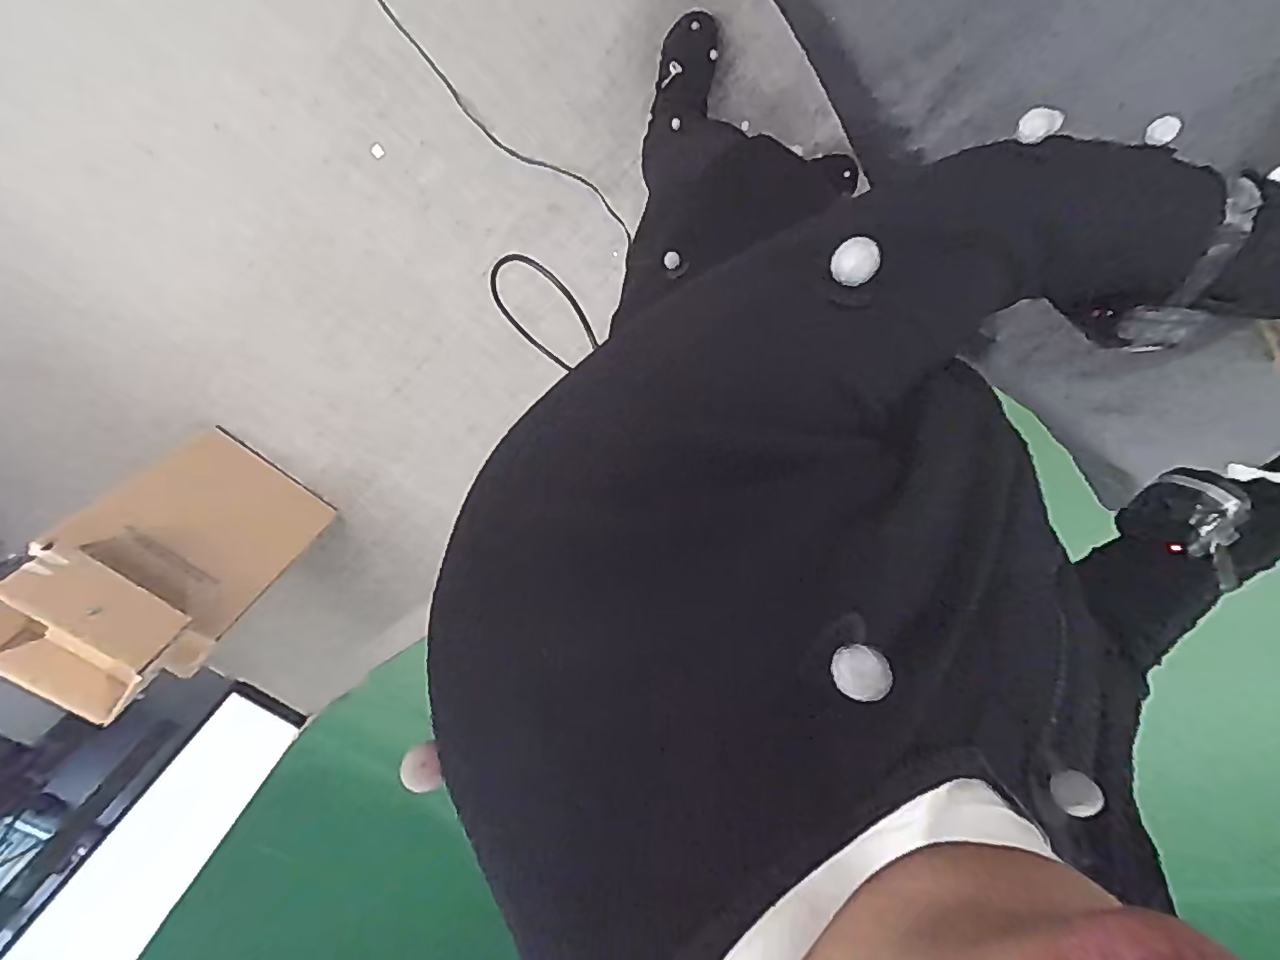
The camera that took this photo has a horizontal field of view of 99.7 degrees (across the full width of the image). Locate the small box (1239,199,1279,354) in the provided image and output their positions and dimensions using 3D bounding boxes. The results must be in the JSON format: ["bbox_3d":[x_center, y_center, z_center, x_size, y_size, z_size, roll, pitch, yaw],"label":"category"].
[{"bbox_3d":[0.624,-0.166,0.409,0.179,0.176,0.168,-34,113,34],"label":"small box"}]
